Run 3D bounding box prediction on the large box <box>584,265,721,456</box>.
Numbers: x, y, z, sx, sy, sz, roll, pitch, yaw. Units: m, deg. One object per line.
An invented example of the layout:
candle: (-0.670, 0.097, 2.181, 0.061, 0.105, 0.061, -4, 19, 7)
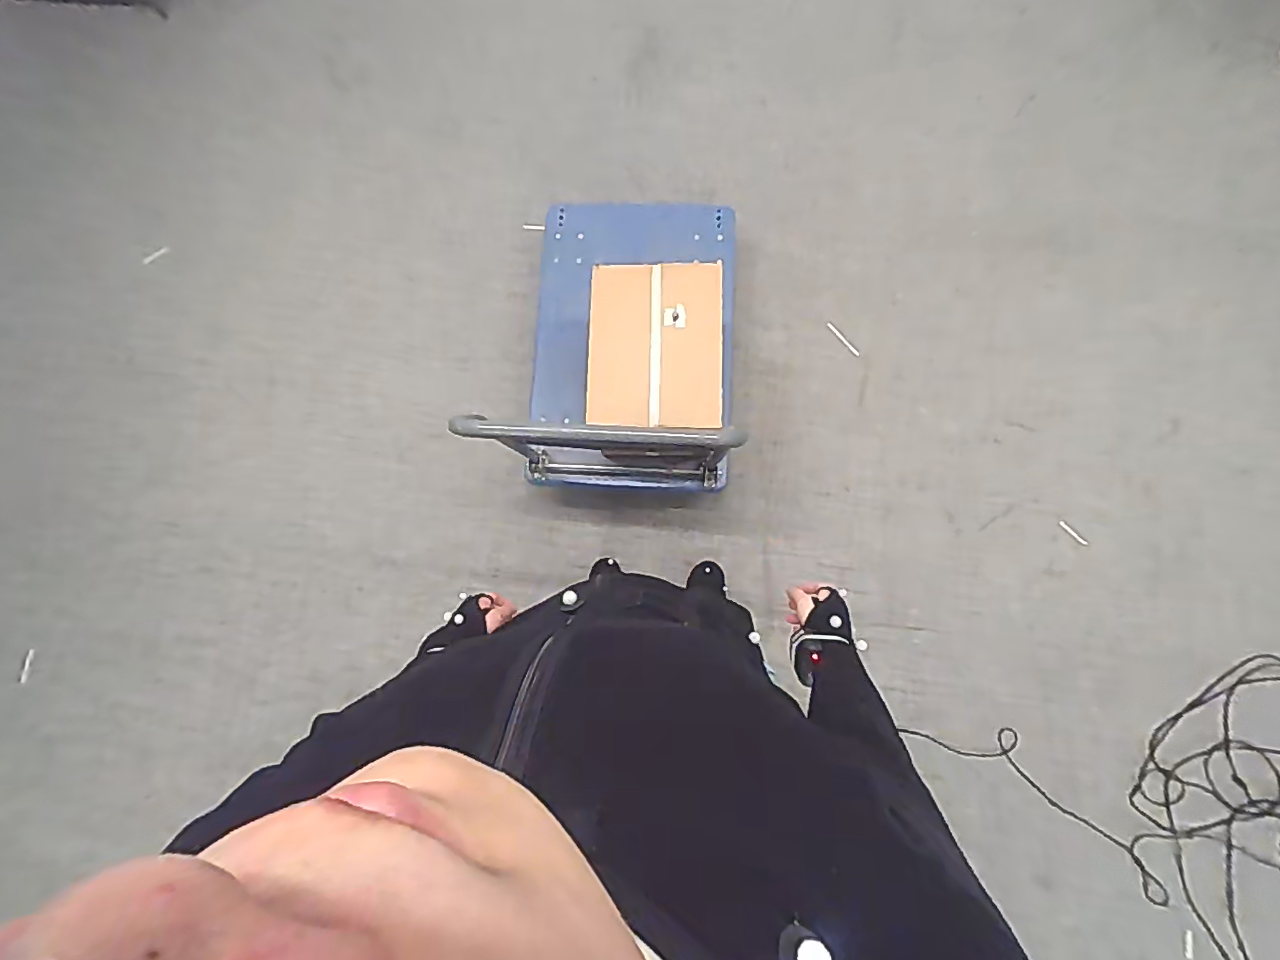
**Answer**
large box: (0.038, -0.286, 1.397, 0.320, 0.320, 0.408, 1, 80, 3)
